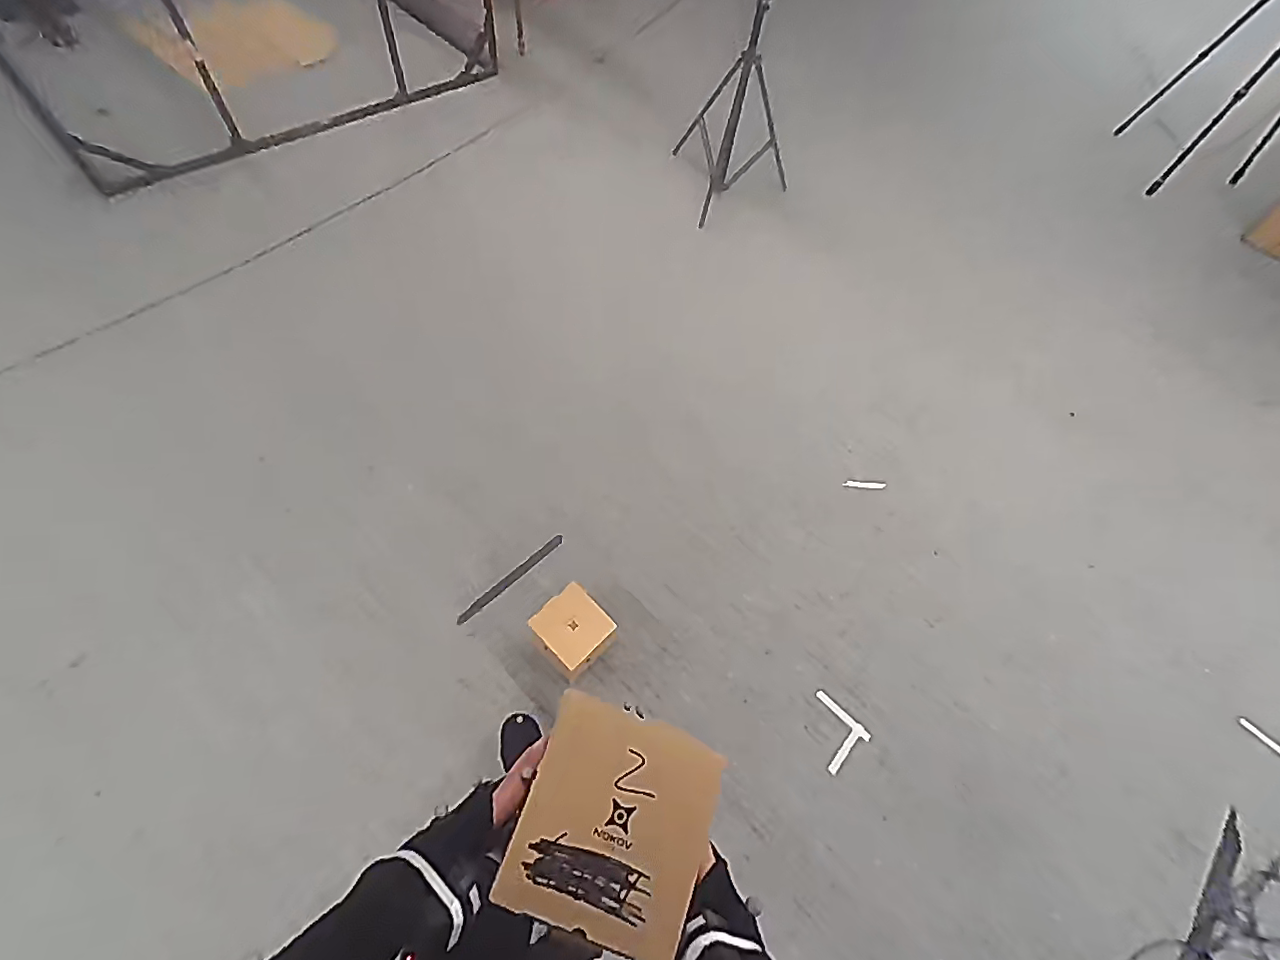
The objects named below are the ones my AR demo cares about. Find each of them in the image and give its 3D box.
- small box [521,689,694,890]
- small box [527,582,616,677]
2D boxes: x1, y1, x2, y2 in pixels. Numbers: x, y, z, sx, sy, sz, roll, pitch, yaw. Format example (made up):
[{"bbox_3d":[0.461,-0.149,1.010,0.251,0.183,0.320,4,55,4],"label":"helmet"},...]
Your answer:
[{"bbox_3d":[-0.044,0.385,0.709,0.168,0.176,0.179,18,69,-1],"label":"small box"},{"bbox_3d":[-0.183,0.414,1.470,0.179,0.176,0.168,42,64,17],"label":"small box"}]
